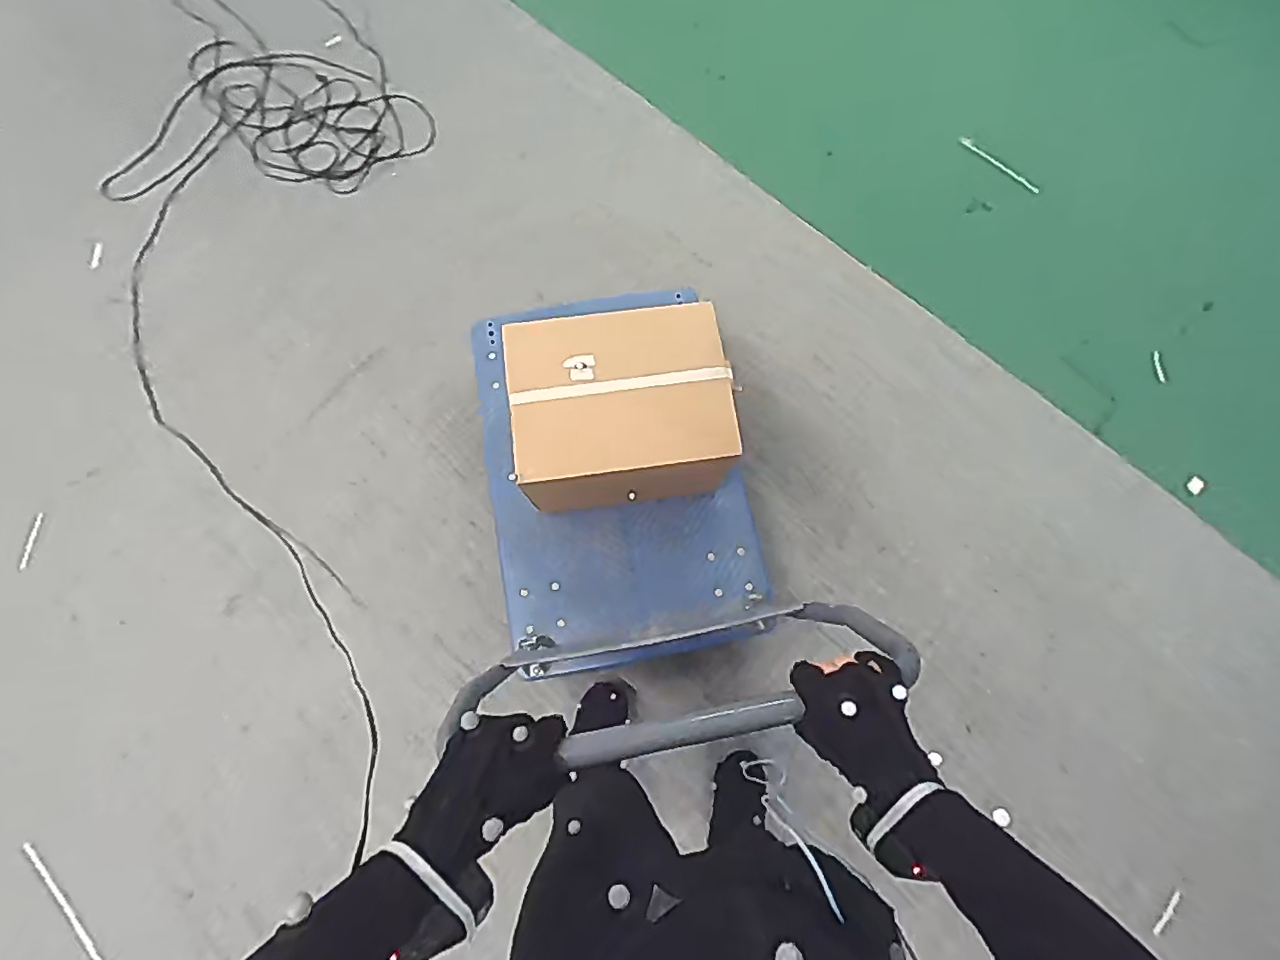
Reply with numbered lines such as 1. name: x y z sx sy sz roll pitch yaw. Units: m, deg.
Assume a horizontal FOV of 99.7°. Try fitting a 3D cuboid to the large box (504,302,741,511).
1. large box: -0.037 -0.131 1.131 0.408 0.320 0.320 -8 77 -2
